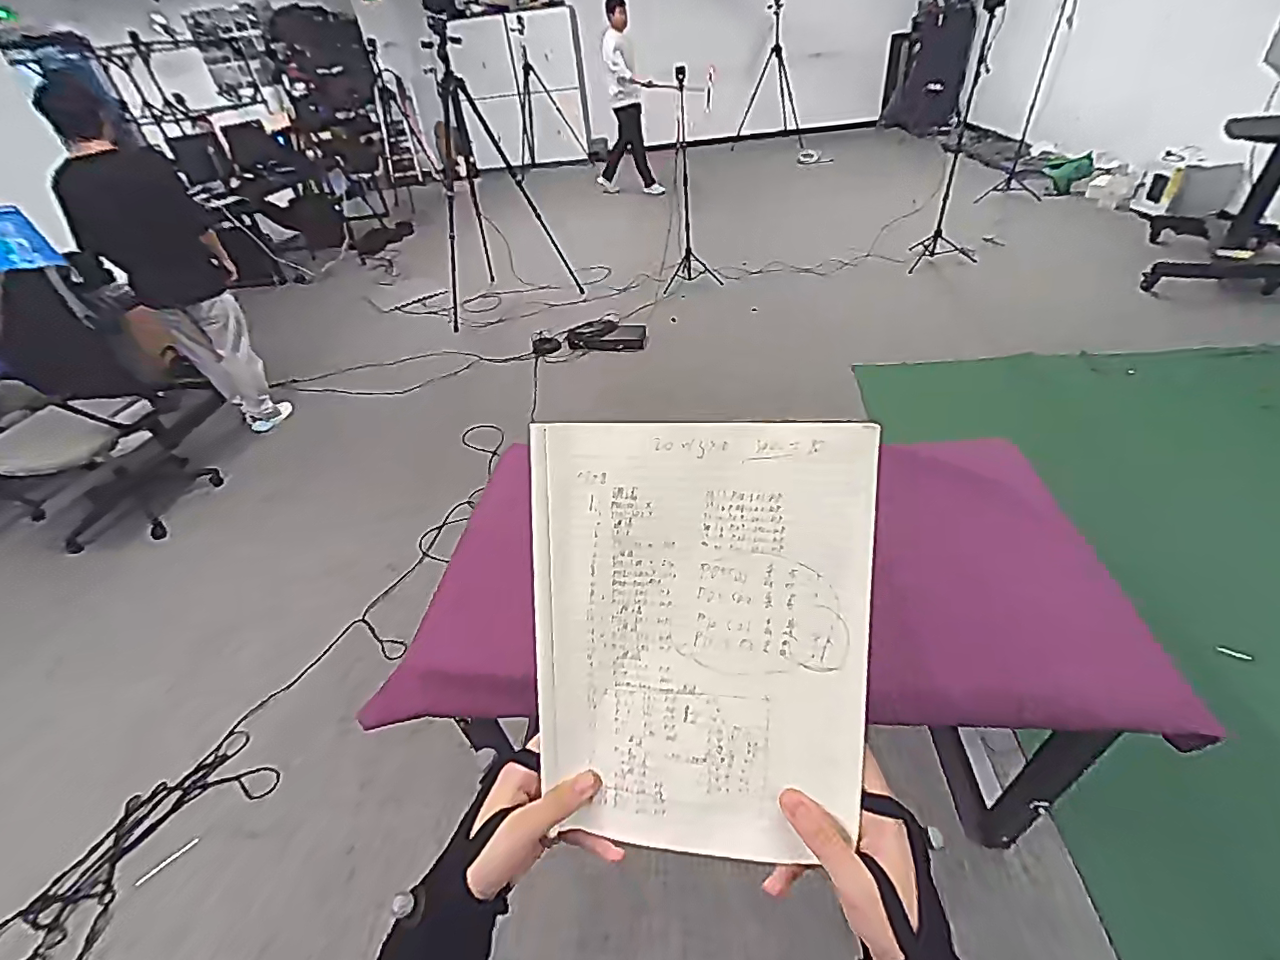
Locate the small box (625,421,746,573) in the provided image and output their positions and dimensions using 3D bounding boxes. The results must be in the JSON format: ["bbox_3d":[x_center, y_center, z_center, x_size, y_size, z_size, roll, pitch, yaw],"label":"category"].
[{"bbox_3d":[0.078,0.028,0.832,0.168,0.176,0.179,-1,39,8],"label":"small box"}]

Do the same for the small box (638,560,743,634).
[{"bbox_3d":[0.095,0.151,0.942,0.168,0.176,0.179,0,41,8],"label":"small box"}]
